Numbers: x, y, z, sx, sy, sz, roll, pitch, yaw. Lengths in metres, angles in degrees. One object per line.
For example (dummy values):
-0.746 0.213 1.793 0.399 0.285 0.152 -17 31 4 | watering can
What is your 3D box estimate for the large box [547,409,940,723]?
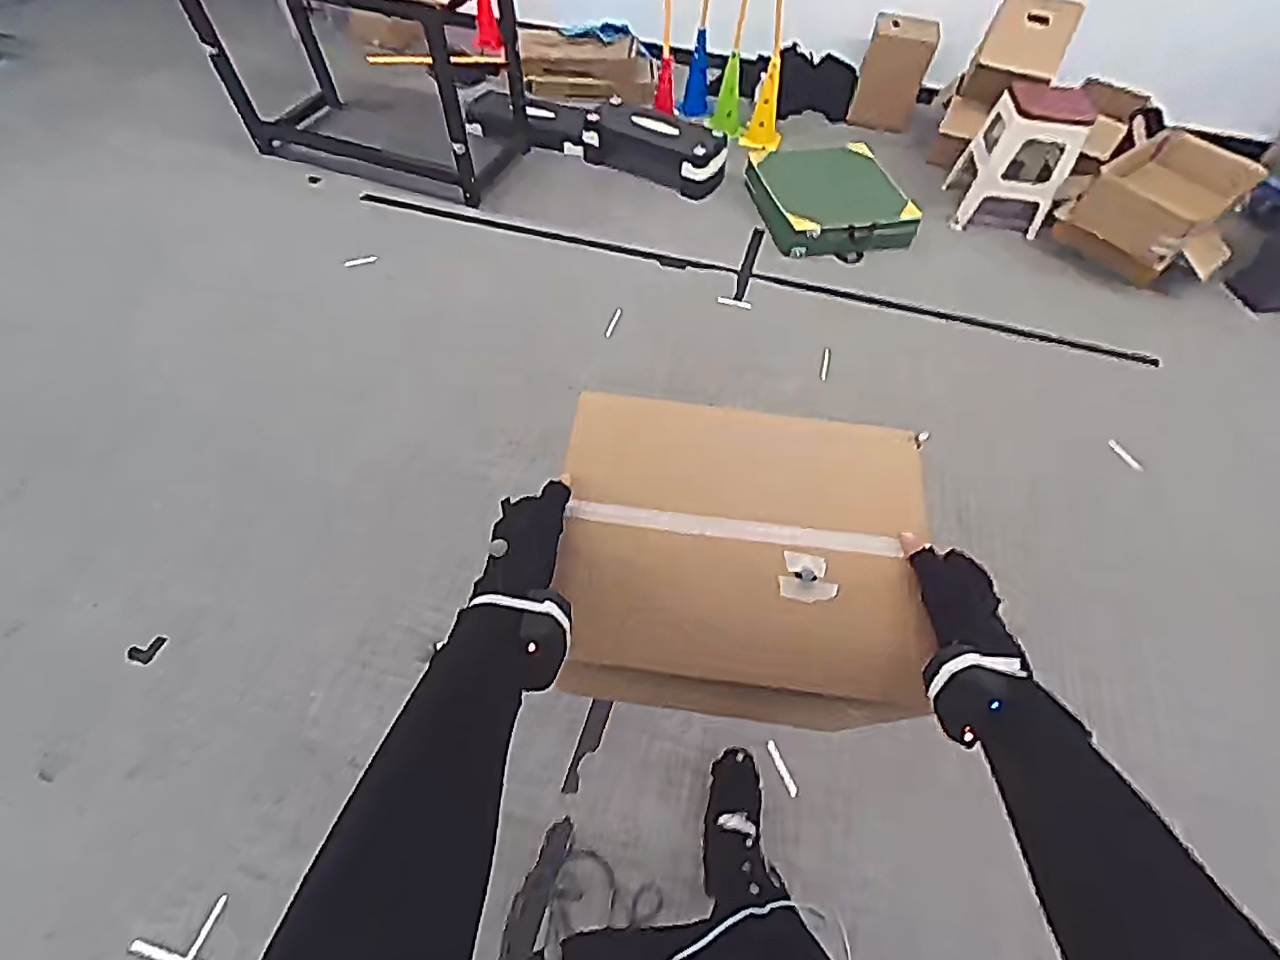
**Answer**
0.108 0.134 0.736 0.408 0.320 0.320 7 63 1 | large box
